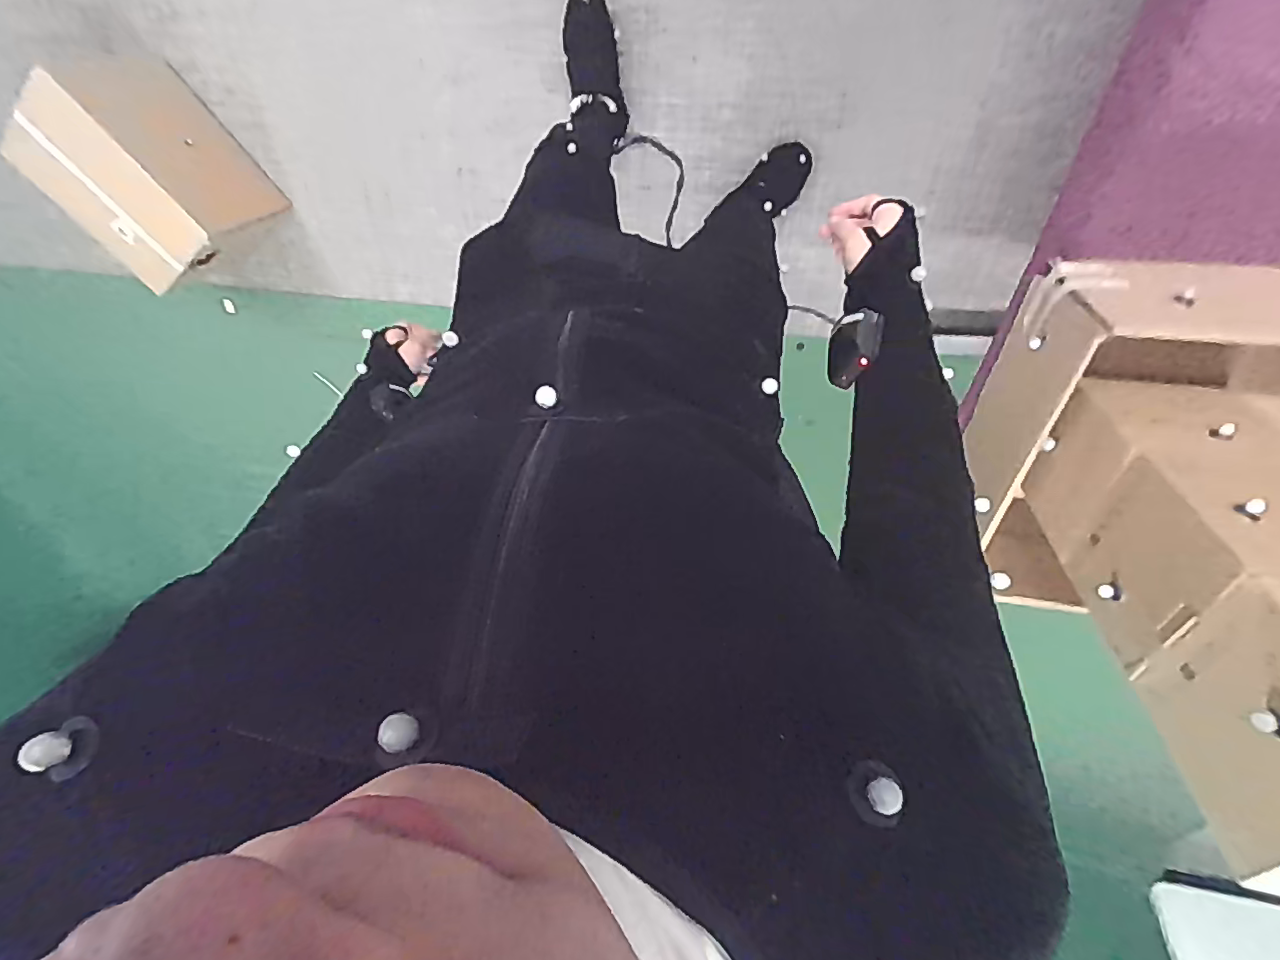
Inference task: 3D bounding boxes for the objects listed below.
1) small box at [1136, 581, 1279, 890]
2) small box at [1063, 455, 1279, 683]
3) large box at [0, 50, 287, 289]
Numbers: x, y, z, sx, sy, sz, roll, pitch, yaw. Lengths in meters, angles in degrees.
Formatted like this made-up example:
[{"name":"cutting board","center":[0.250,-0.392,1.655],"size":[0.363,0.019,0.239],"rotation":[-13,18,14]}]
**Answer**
[{"name":"small box","center":[0.540,0.194,0.402],"size":[0.179,0.176,0.168],"rotation":[7,130,7]},{"name":"small box","center":[0.568,0.093,0.525],"size":[0.179,0.176,0.168],"rotation":[7,130,7]},{"name":"large box","center":[-1.247,-0.788,1.389],"size":[0.320,0.320,0.408],"rotation":[-20,124,29]}]
